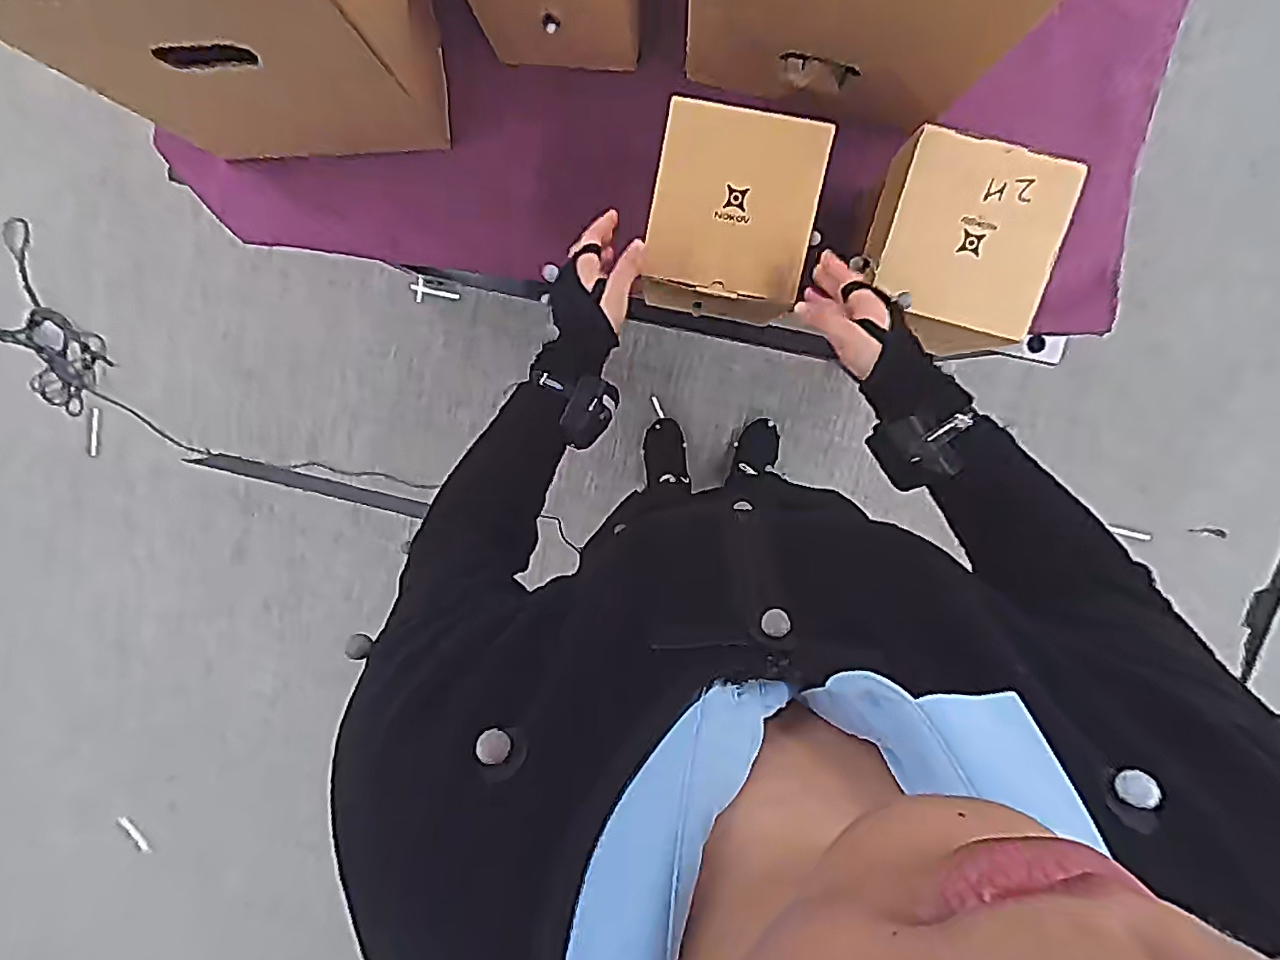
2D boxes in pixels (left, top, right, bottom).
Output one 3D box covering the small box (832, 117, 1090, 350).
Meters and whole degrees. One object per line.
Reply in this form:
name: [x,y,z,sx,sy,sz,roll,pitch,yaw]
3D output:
small box: [0.334,-0.255,0.607,0.168,0.176,0.179,15,98,1]
